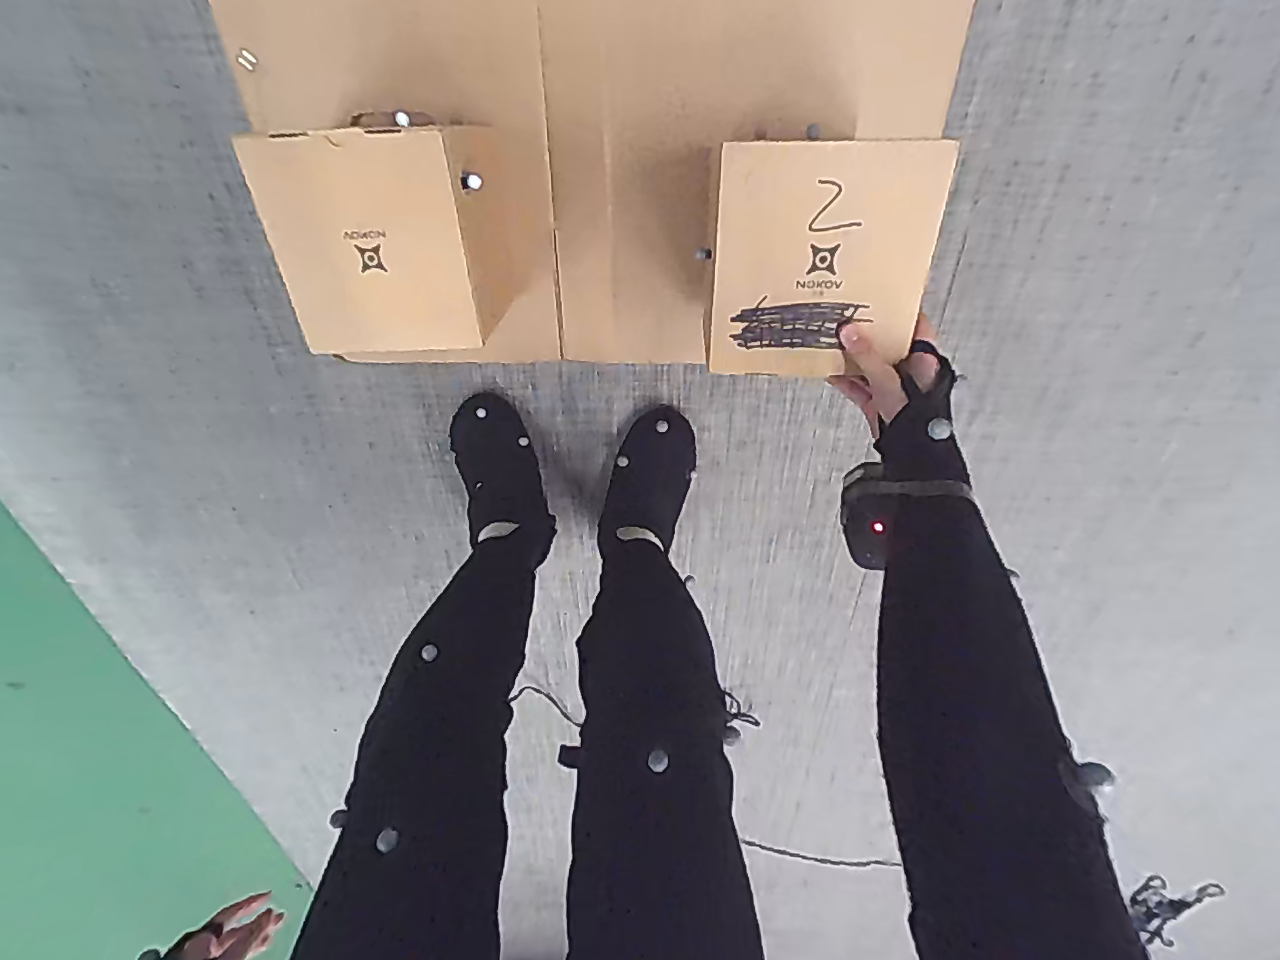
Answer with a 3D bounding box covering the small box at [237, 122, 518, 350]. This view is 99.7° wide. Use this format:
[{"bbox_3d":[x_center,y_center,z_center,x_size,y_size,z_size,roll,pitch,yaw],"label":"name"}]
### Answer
[{"bbox_3d":[-0.223,-0.238,0.521,0.168,0.176,0.179,-2,122,1],"label":"small box"}]
